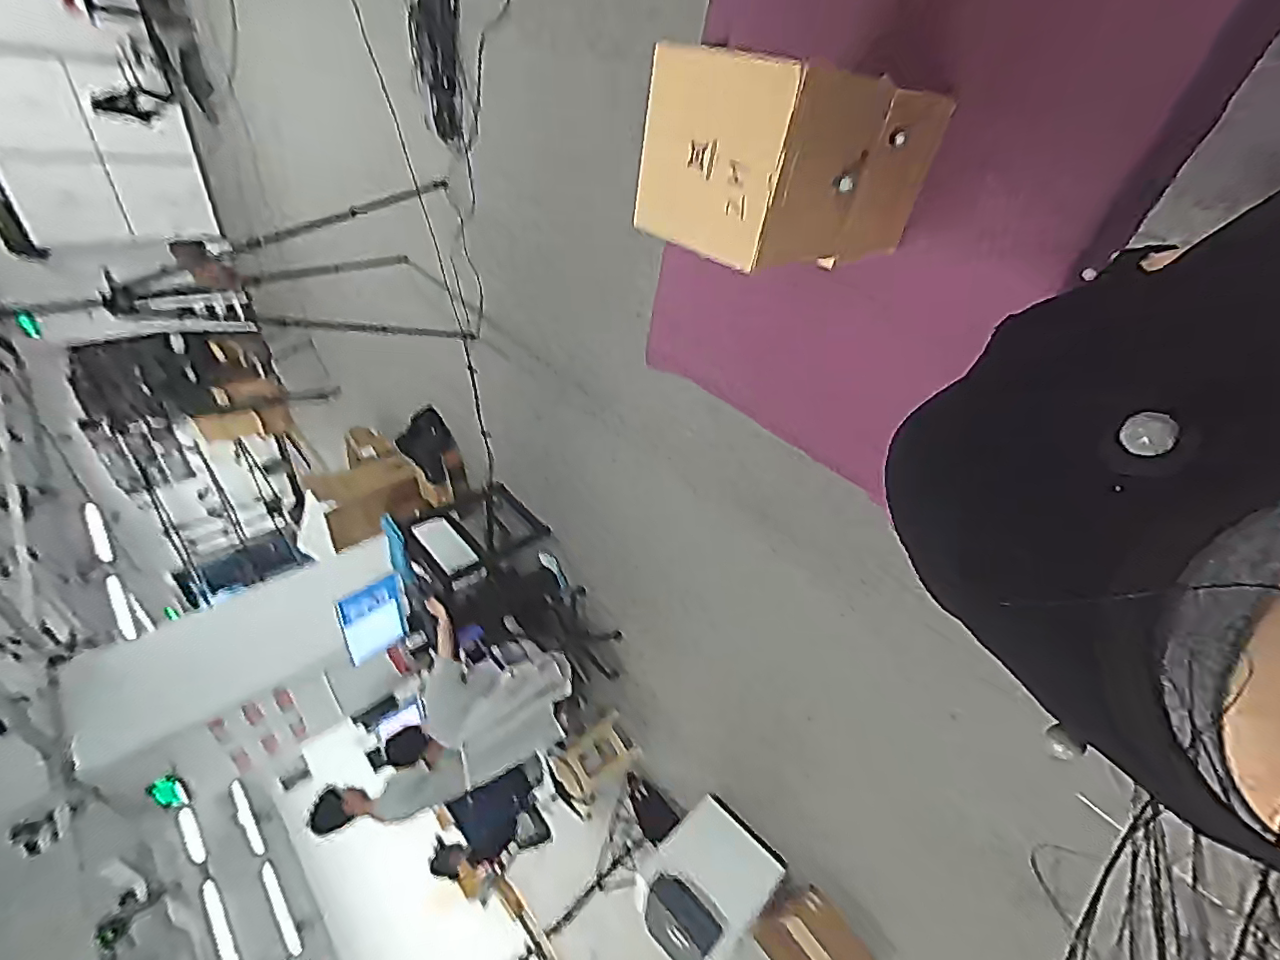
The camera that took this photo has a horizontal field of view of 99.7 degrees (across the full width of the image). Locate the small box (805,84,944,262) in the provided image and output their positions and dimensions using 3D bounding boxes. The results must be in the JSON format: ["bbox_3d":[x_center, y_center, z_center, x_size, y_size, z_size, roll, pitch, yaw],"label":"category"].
[{"bbox_3d":[0.243,-0.393,0.678,0.168,0.176,0.179,37,135,31],"label":"small box"}]

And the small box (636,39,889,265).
[{"bbox_3d":[0.123,-0.344,0.576,0.179,0.176,0.168,38,136,31],"label":"small box"}]
